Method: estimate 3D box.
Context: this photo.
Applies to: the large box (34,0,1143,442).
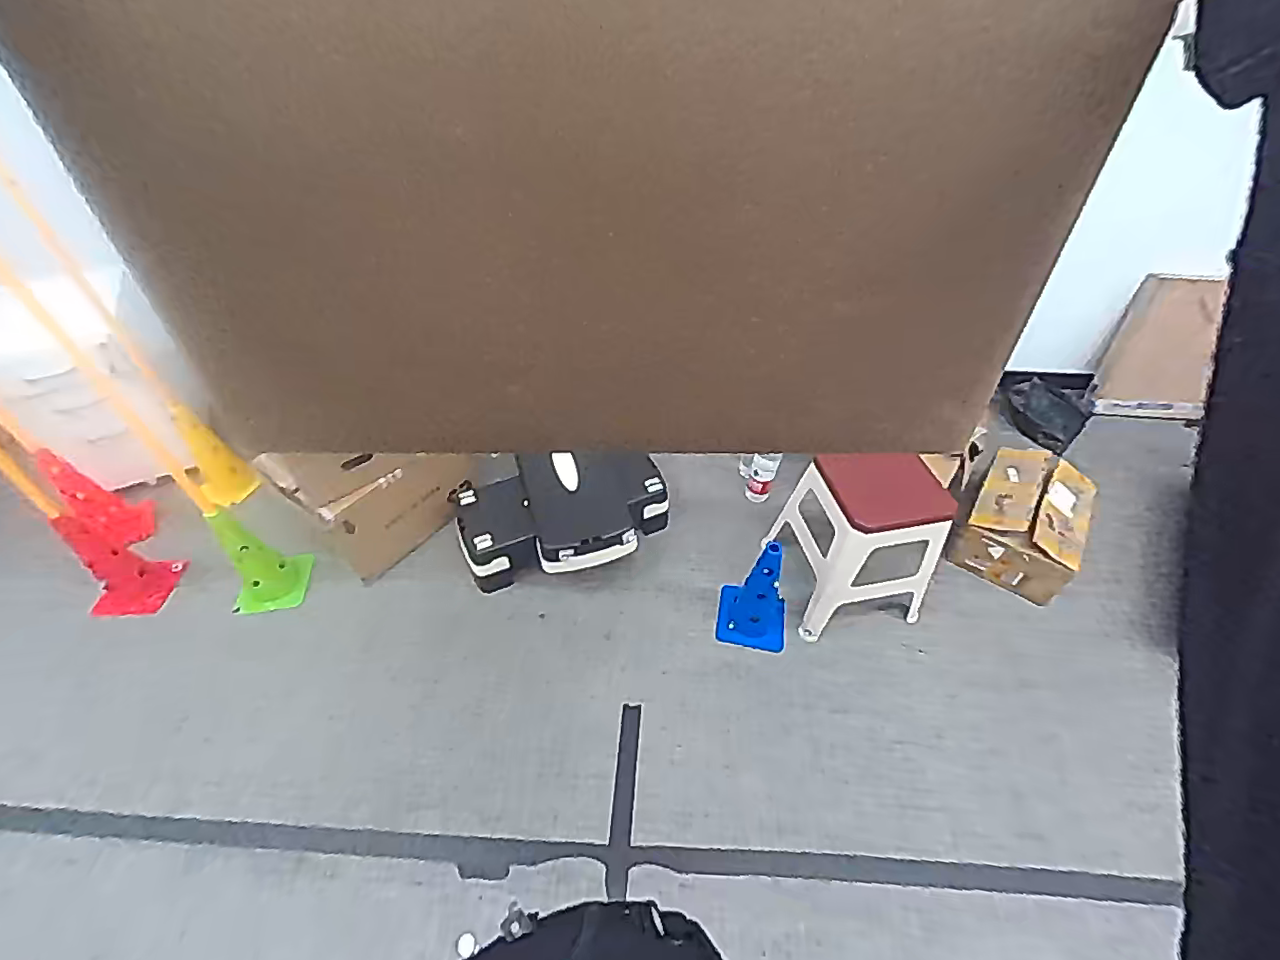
[{"bbox_3d":[-0.019,-0.231,0.330,0.408,0.320,0.320,1,40,-1],"label":"large box"}]
